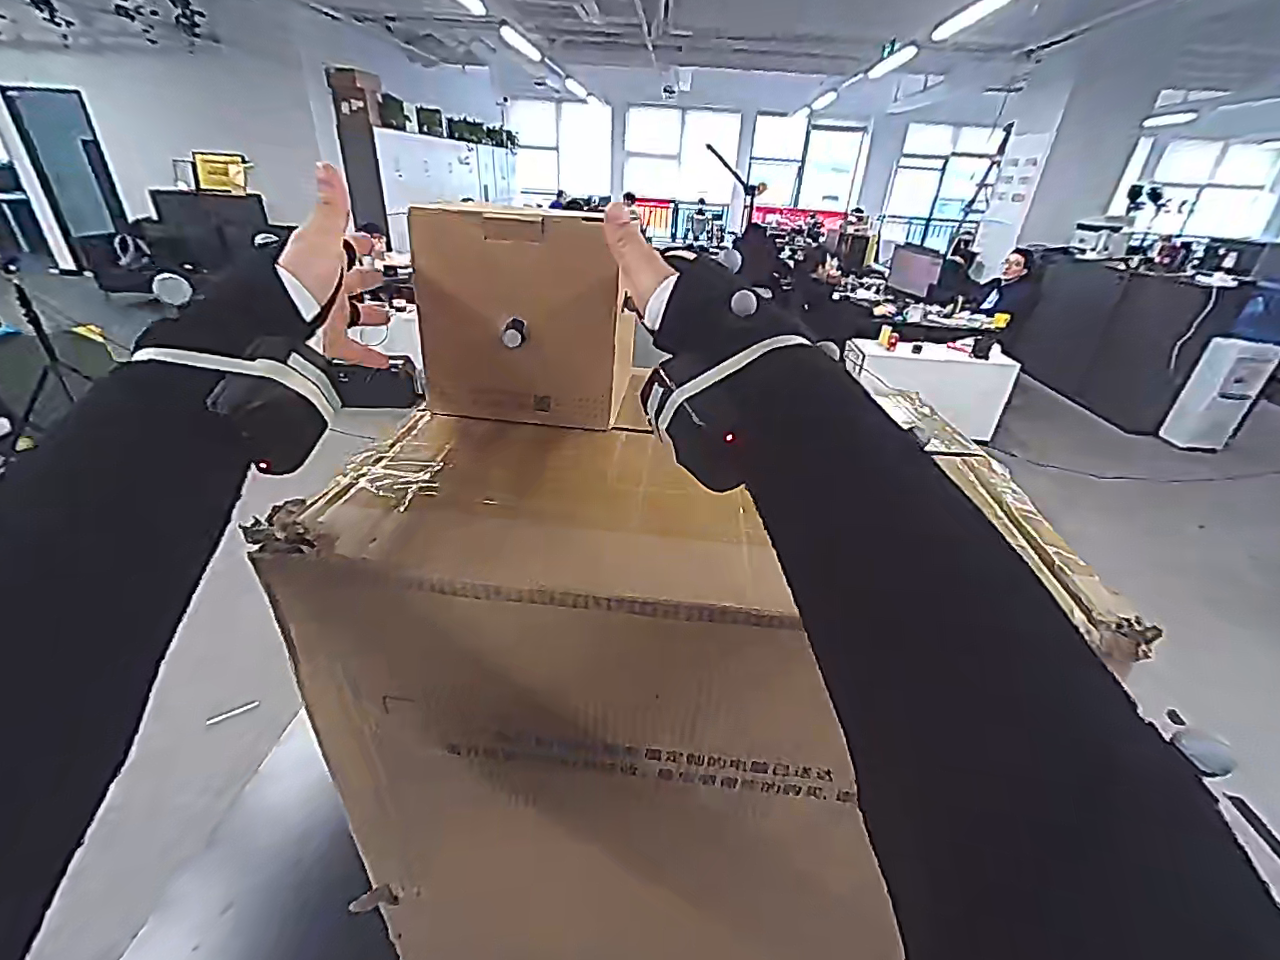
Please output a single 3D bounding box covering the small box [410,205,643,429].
[{"bbox_3d":[-0.089,-0.158,0.509,0.168,0.176,0.179,6,28,2],"label":"small box"}]
